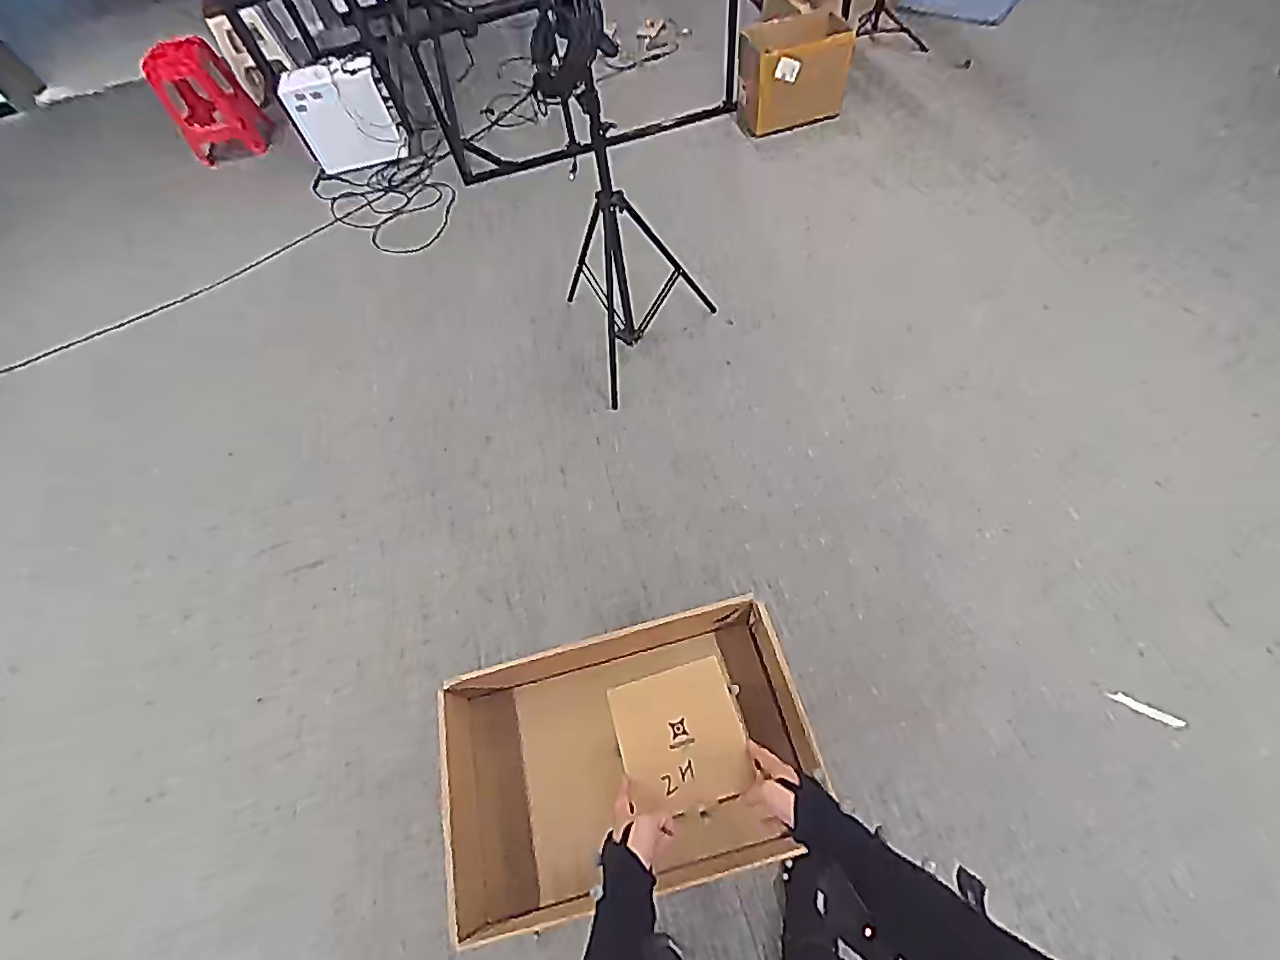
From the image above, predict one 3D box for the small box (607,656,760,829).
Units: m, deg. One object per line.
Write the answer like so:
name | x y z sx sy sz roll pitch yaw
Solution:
small box | 0.062 0.385 0.786 0.168 0.176 0.179 -18 56 -2
